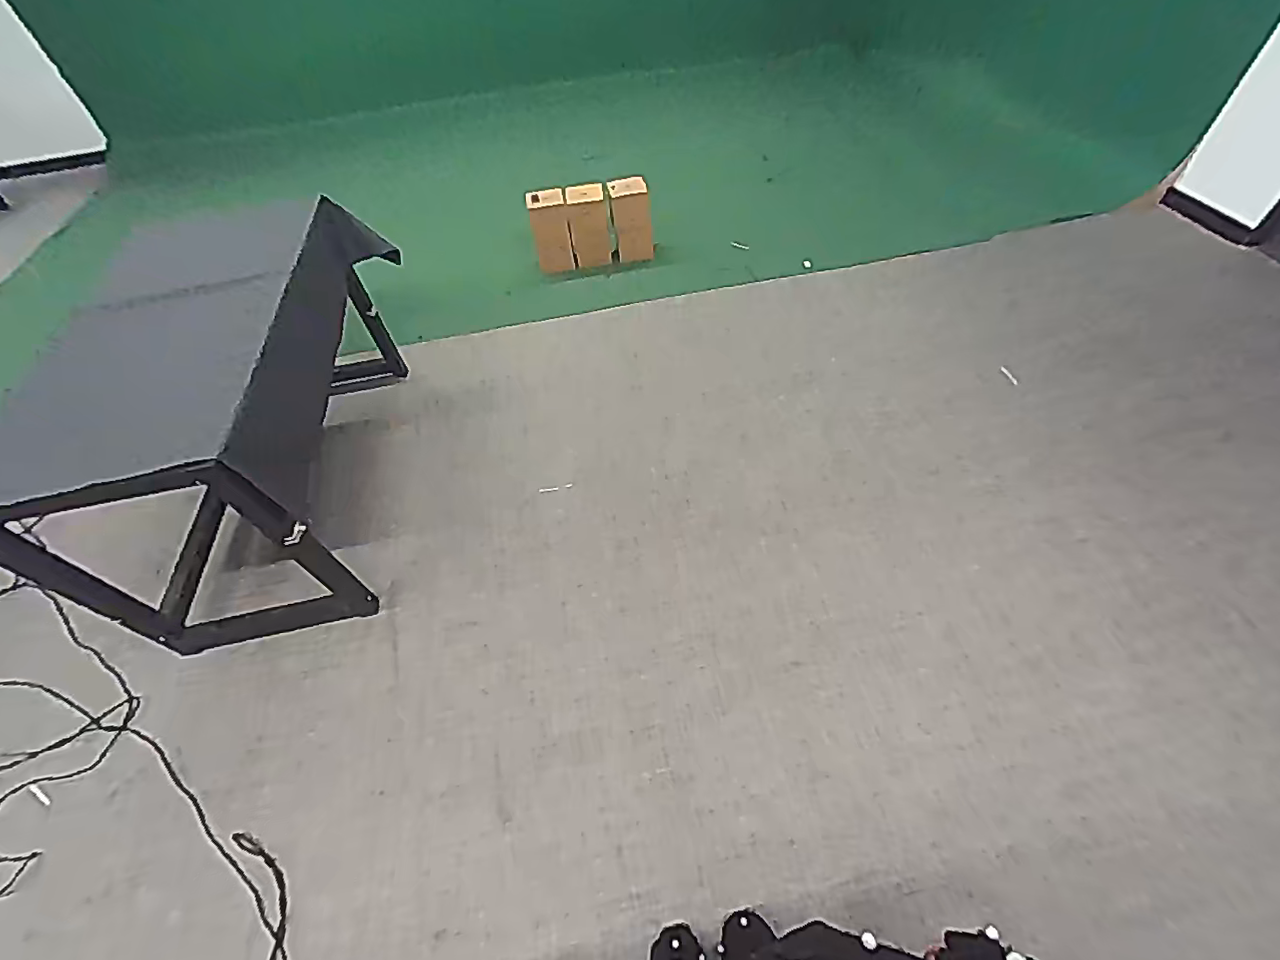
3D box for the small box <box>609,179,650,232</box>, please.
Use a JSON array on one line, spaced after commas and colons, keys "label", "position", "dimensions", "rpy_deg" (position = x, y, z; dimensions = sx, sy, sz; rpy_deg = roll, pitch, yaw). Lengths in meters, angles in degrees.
[{"label": "small box", "position": [-0.049, -1.324, 2.614], "dimensions": [0.179, 0.176, 0.168], "rpy_deg": [-10, 52, -4]}]
